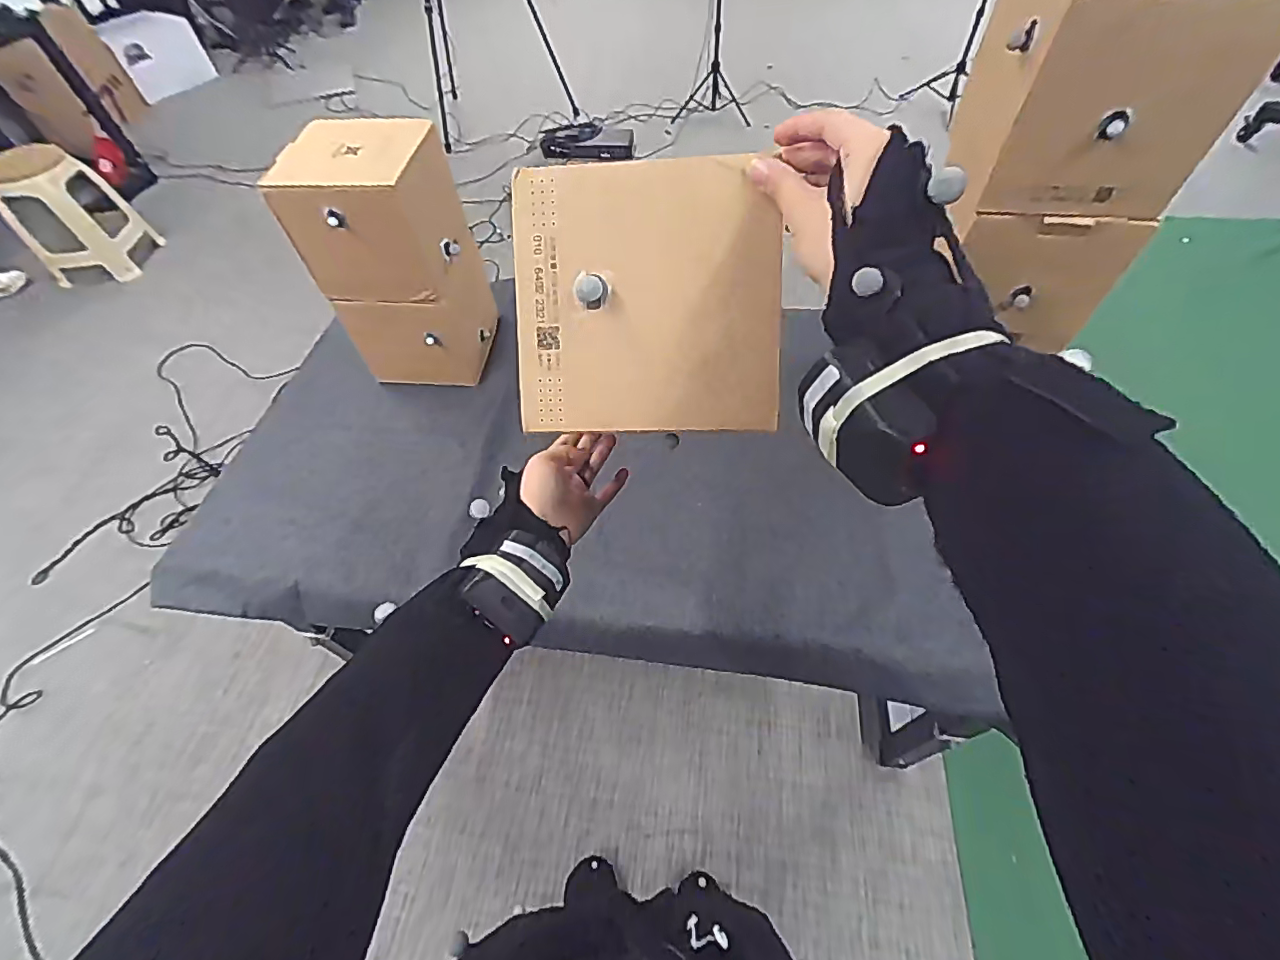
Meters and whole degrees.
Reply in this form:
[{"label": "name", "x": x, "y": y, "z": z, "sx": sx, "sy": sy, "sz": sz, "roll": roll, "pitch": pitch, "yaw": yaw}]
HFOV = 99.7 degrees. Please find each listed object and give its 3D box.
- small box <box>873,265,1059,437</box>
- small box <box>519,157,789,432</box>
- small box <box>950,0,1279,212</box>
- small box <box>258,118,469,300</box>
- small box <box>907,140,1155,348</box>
[{"label": "small box", "x": 0.442, "y": -0.187, "z": 0.770, "sx": 0.168, "sy": 0.176, "sz": 0.179, "roll": 7, "pitch": 57, "yaw": 9}, {"label": "small box", "x": 0.014, "y": -0.122, "z": 0.417, "sx": 0.176, "sy": 0.179, "sz": 0.168, "roll": 0, "pitch": 97, "yaw": 7}, {"label": "small box", "x": 0.414, "y": -0.370, "z": 0.498, "sx": 0.168, "sy": 0.176, "sz": 0.179, "roll": 6, "pitch": 56, "yaw": 8}, {"label": "small box", "x": -0.359, "y": -0.367, "z": 0.743, "sx": 0.179, "sy": 0.176, "sz": 0.168, "roll": 3, "pitch": 57, "yaw": 3}, {"label": "small box", "x": 0.430, "y": -0.276, "z": 0.633, "sx": 0.168, "sy": 0.176, "sz": 0.179, "roll": 8, "pitch": 58, "yaw": 9}]
